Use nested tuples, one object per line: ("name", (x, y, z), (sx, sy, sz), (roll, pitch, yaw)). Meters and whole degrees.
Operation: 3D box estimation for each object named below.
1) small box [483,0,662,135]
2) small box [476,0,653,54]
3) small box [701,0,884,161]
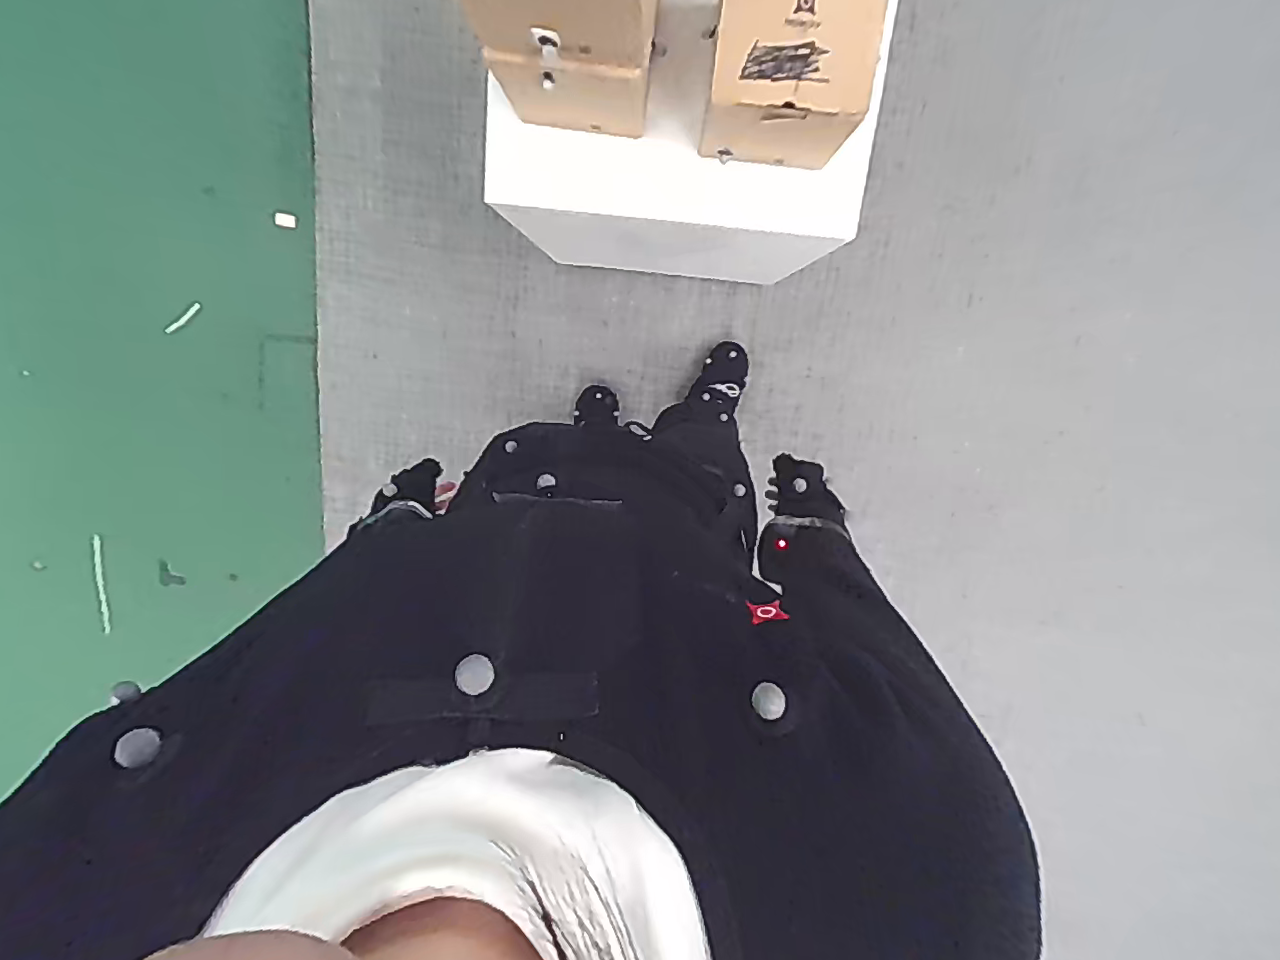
("small box", (-0.066, -0.532, 0.615), (0.168, 0.176, 0.179), (9, 103, 1))
("small box", (-0.067, -0.497, 0.440), (0.168, 0.176, 0.179), (6, 105, 1))
("small box", (0.164, -0.490, 0.616), (0.168, 0.176, 0.179), (7, 103, 1))
